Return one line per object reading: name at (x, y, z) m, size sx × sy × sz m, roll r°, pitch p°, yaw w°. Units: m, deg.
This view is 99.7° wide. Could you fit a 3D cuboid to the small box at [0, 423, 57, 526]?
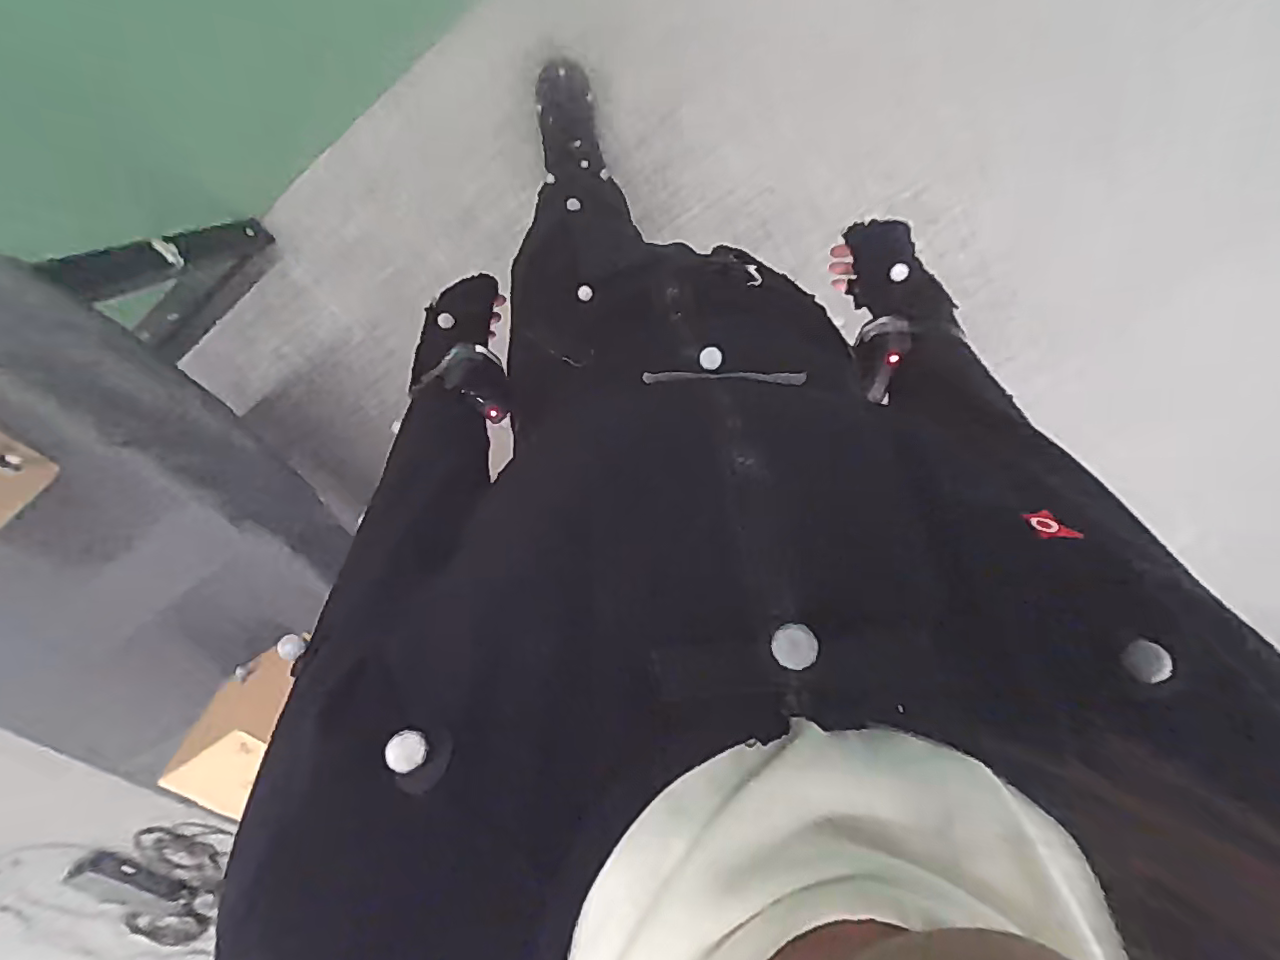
small box at (-0.790, 0.009, 0.563) m, size 0.179 × 0.176 × 0.168 m, roll -32°, pitch 121°, yaw 16°
